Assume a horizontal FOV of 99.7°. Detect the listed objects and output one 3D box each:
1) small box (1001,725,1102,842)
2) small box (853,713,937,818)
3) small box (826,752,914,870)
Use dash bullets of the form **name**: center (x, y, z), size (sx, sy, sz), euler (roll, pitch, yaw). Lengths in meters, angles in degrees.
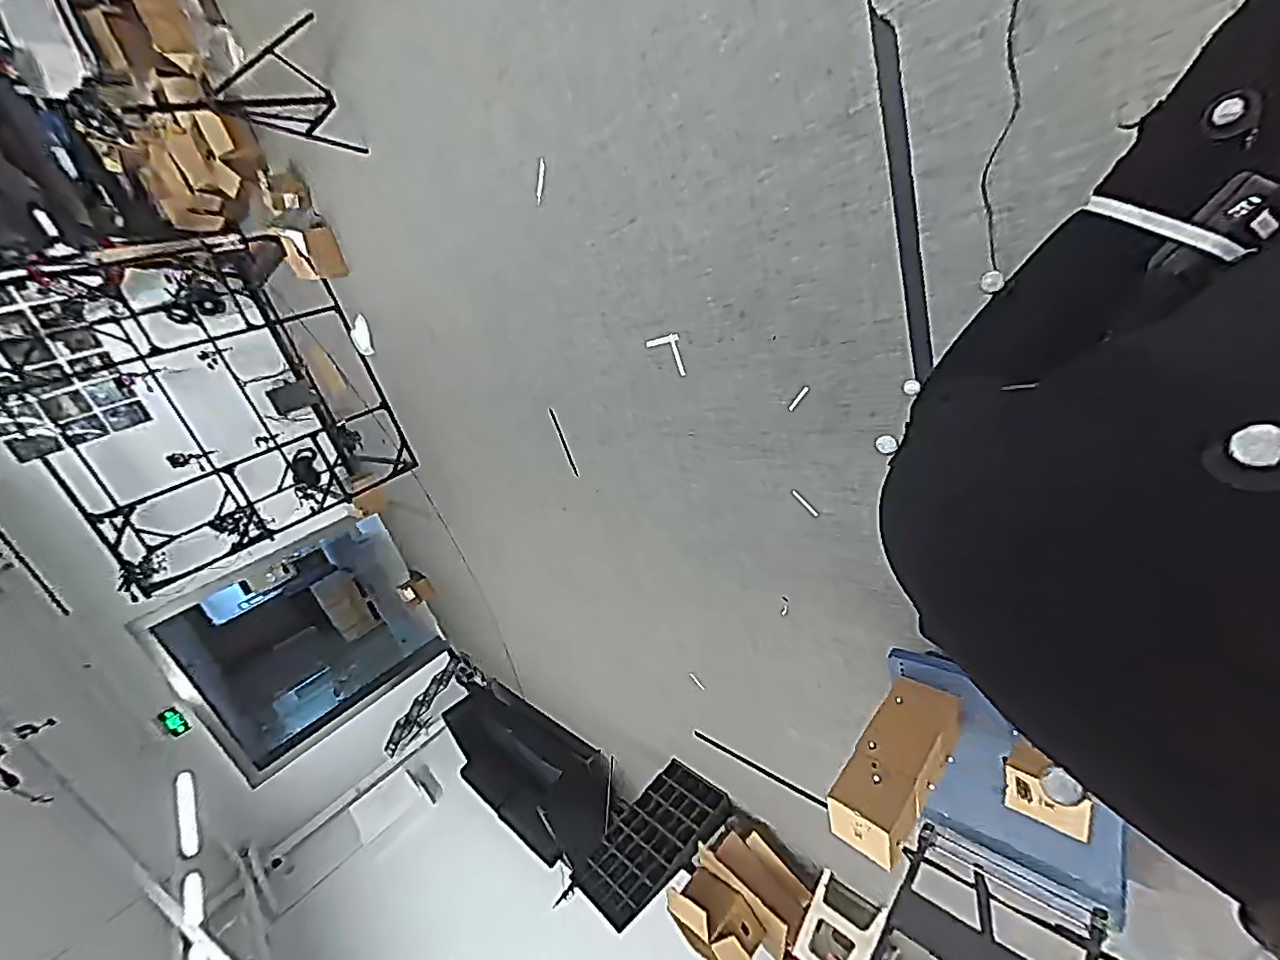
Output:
- **small box**: center (1.073, 0.780, 1.414), size (0.179, 0.176, 0.168), euler (10, 125, 45)
- **small box**: center (0.738, 0.810, 1.556), size (0.179, 0.176, 0.168), euler (13, 127, 46)
- **small box**: center (0.626, 0.889, 1.464), size (0.168, 0.176, 0.179), euler (14, 128, 44)
